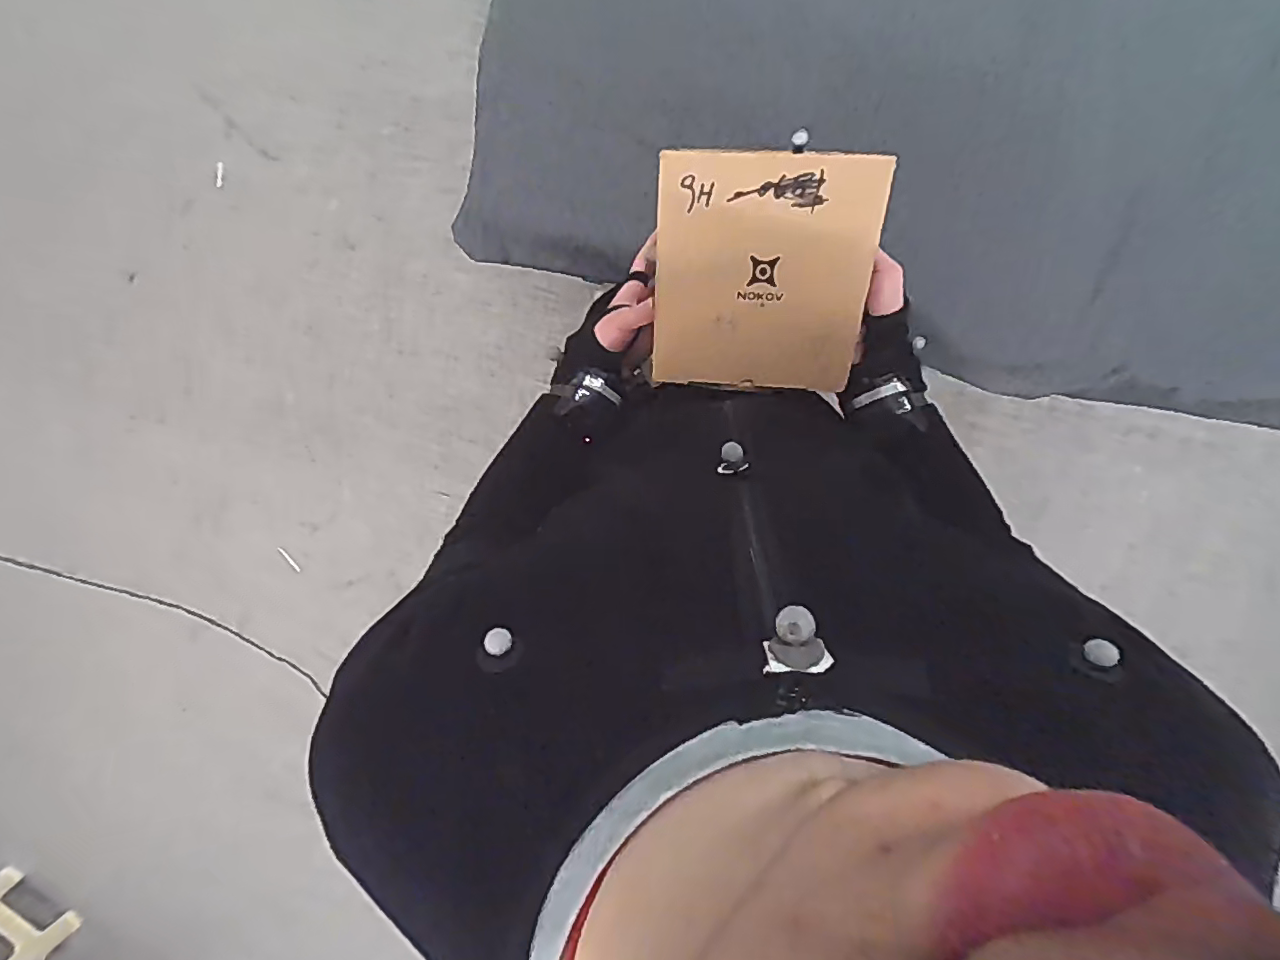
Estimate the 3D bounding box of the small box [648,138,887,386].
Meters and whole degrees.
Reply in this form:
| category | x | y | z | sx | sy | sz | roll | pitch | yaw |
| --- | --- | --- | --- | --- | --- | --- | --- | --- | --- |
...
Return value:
| category | x | y | z | sx | sy | sz | roll | pitch | yaw |
| --- | --- | --- | --- | --- | --- | --- | --- | --- | --- |
| small box | 0.099 | -0.206 | 0.499 | 0.168 | 0.176 | 0.179 | 4 | 124 | 2 |
